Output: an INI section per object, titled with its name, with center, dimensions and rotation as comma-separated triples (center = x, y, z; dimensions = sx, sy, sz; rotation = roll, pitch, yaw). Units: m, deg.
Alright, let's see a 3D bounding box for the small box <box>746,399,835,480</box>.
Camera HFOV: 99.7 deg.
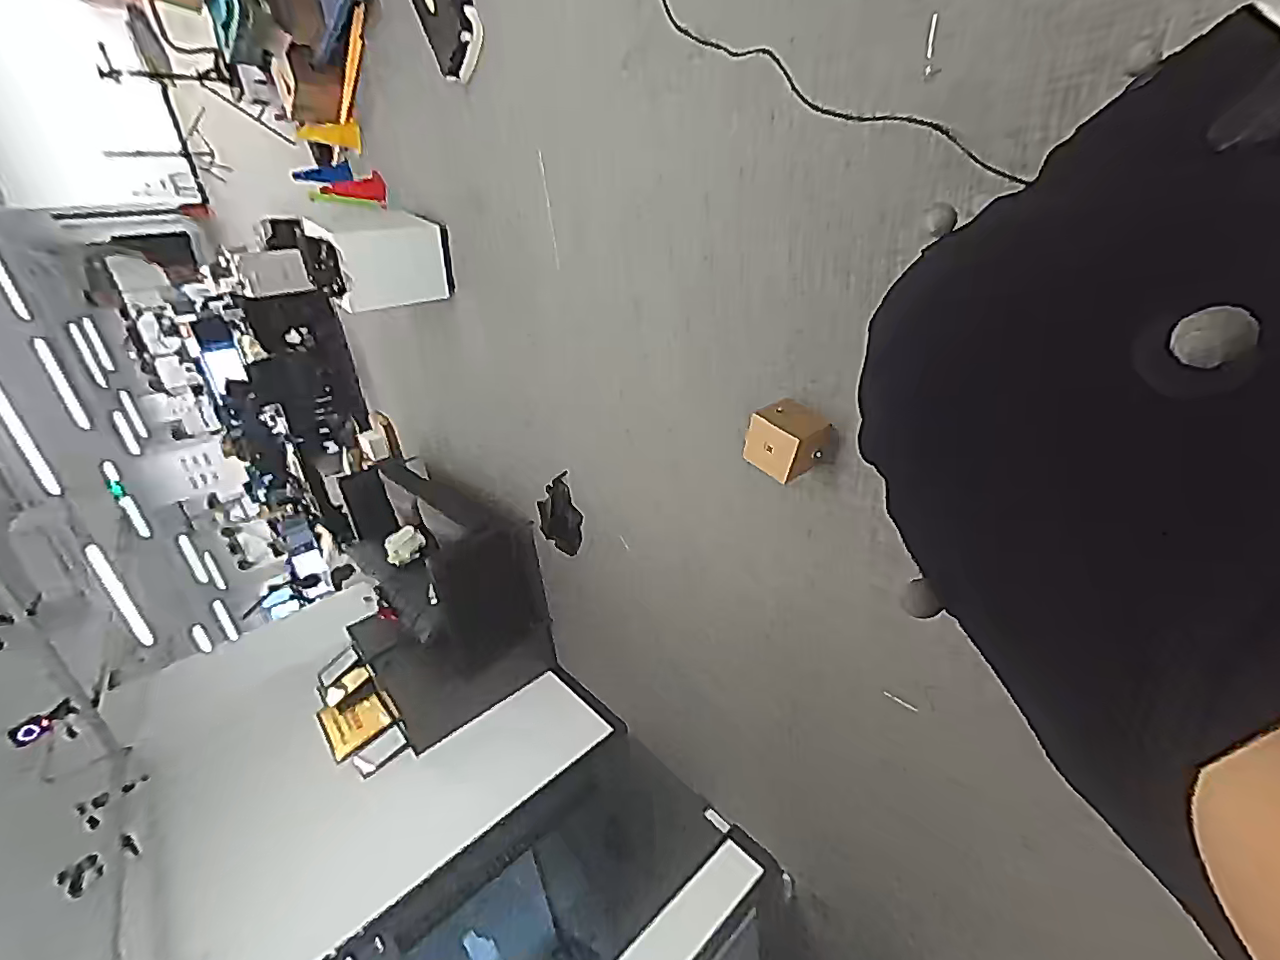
[small box]
center = 0.457, -0.132, 1.644
dimensions = 0.179, 0.176, 0.168
rotation = 37, 138, 34
